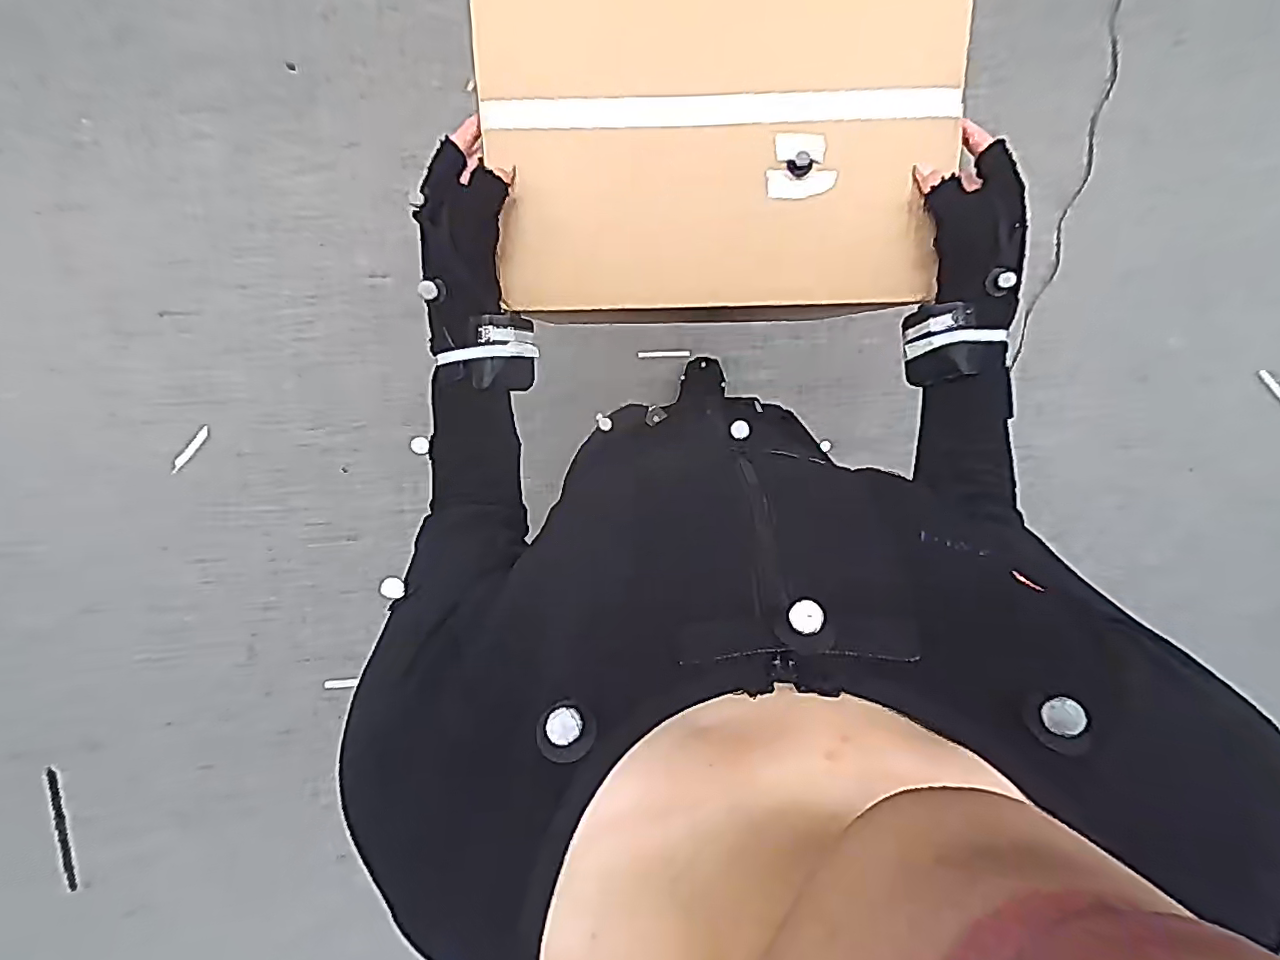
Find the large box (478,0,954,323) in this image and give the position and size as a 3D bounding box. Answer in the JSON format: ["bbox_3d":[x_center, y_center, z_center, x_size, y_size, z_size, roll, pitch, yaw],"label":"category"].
[{"bbox_3d":[0.063,-0.354,0.612,0.408,0.320,0.320,-2,104,0],"label":"large box"}]
